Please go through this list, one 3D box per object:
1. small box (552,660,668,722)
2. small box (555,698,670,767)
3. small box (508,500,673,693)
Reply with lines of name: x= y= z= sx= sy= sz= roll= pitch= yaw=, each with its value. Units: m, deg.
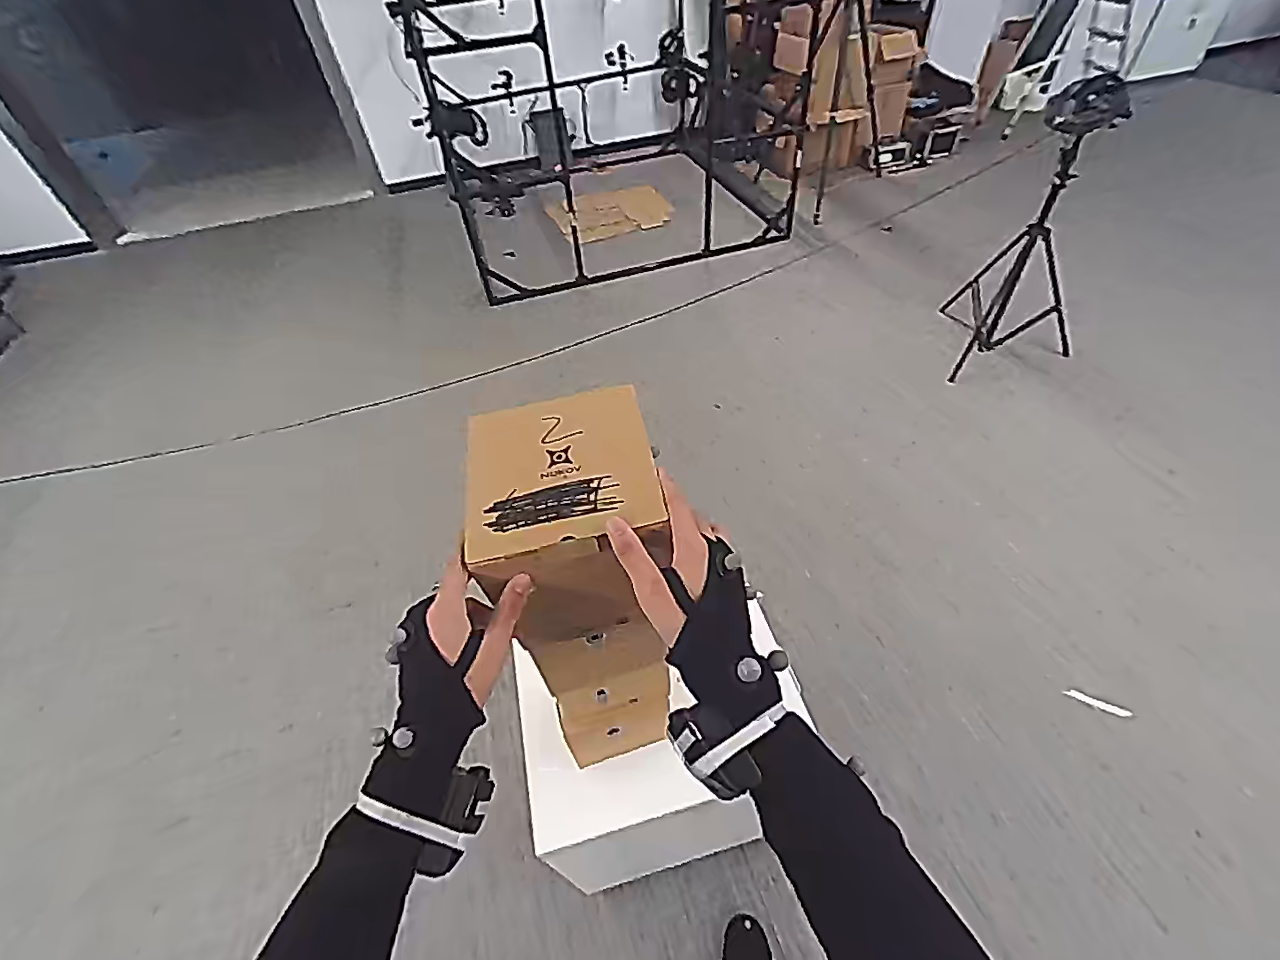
small box: x=-0.057 y=0.258 z=0.851 sx=0.168 sy=0.176 sz=0.179 roll=-14 pitch=46 yaw=-8
small box: x=-0.053 y=0.381 z=0.959 sx=0.179 sy=0.176 sz=0.168 roll=-14 pitch=47 yaw=-9
small box: x=-0.062 y=0.158 z=0.720 sx=0.179 sy=0.176 sz=0.168 roll=-14 pitch=47 yaw=-8
